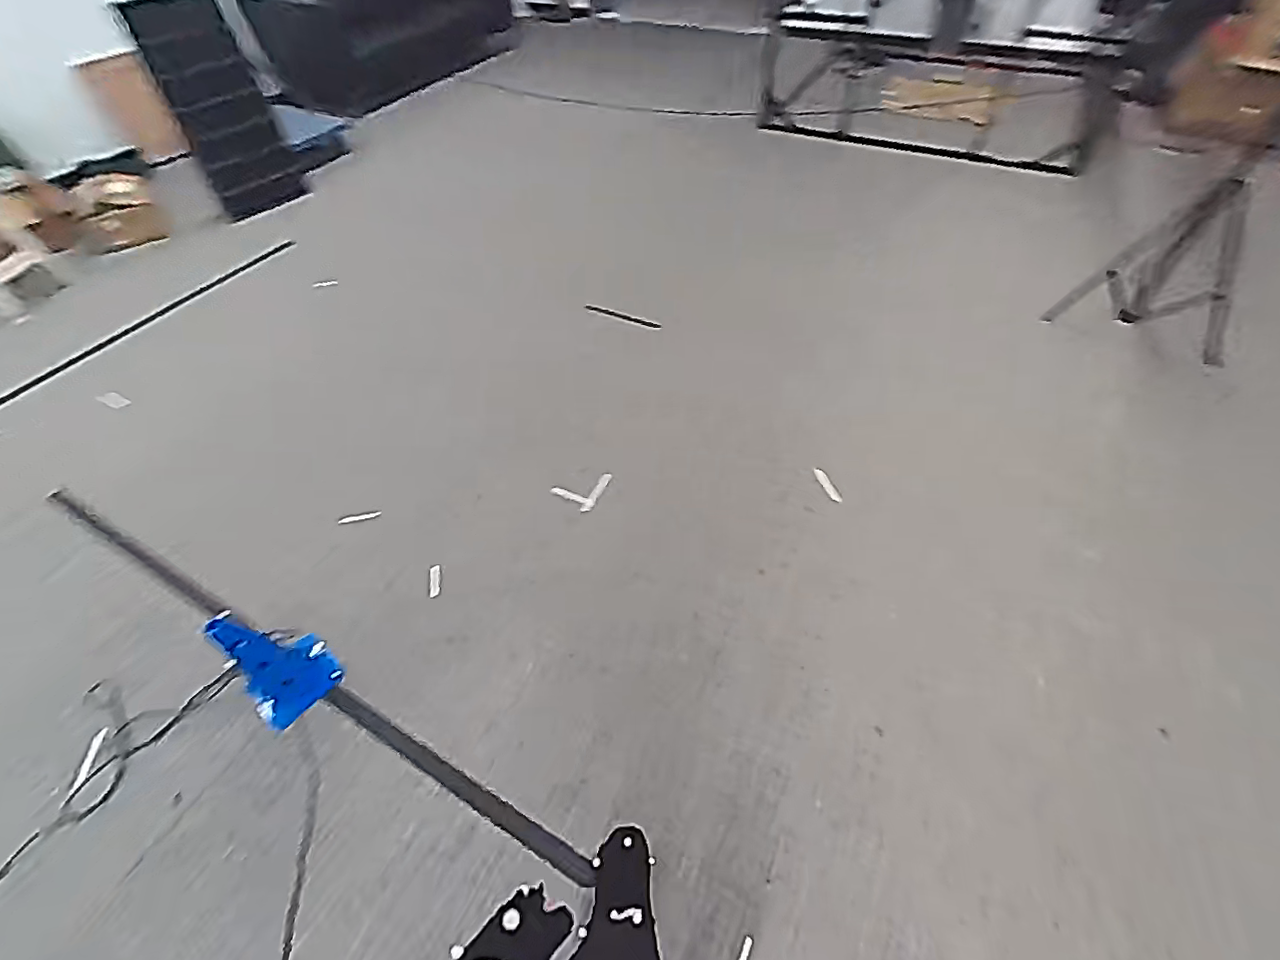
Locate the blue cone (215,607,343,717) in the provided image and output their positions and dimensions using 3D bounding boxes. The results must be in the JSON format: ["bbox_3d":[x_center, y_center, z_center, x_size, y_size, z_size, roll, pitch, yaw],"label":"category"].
[{"bbox_3d":[-0.940,0.424,1.351,0.193,0.380,0.192,36,59,26],"label":"blue cone"}]
